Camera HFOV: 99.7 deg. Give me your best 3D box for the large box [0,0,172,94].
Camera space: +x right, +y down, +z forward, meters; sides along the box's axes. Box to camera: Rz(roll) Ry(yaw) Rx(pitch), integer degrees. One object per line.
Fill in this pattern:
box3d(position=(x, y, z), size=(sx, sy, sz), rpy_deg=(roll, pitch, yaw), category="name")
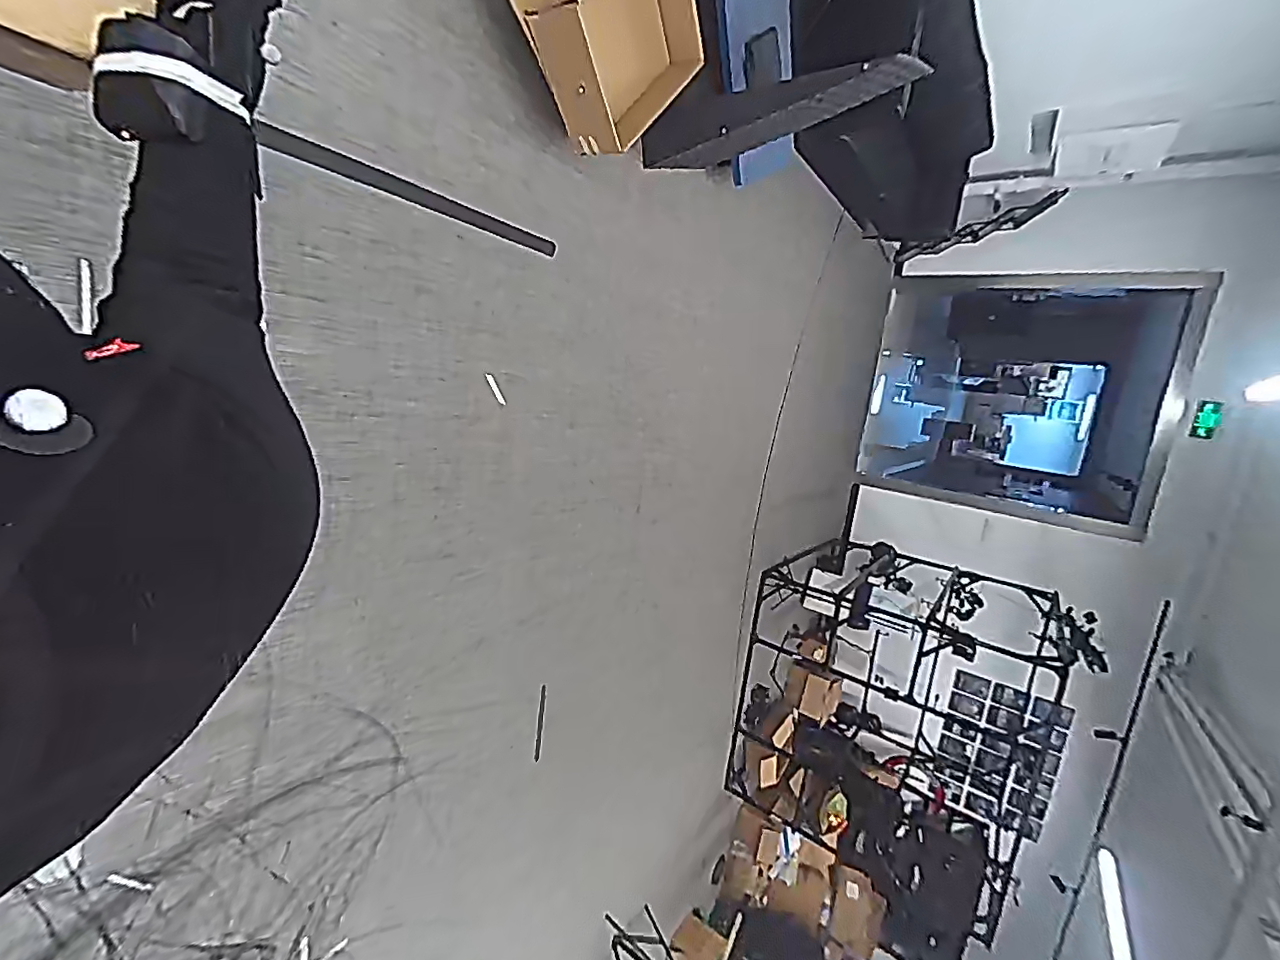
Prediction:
box3d(position=(-0.553, -0.477, 0.288), size=(0.408, 0.320, 0.320), rpy_deg=(-7, 118, -57), category="large box")
